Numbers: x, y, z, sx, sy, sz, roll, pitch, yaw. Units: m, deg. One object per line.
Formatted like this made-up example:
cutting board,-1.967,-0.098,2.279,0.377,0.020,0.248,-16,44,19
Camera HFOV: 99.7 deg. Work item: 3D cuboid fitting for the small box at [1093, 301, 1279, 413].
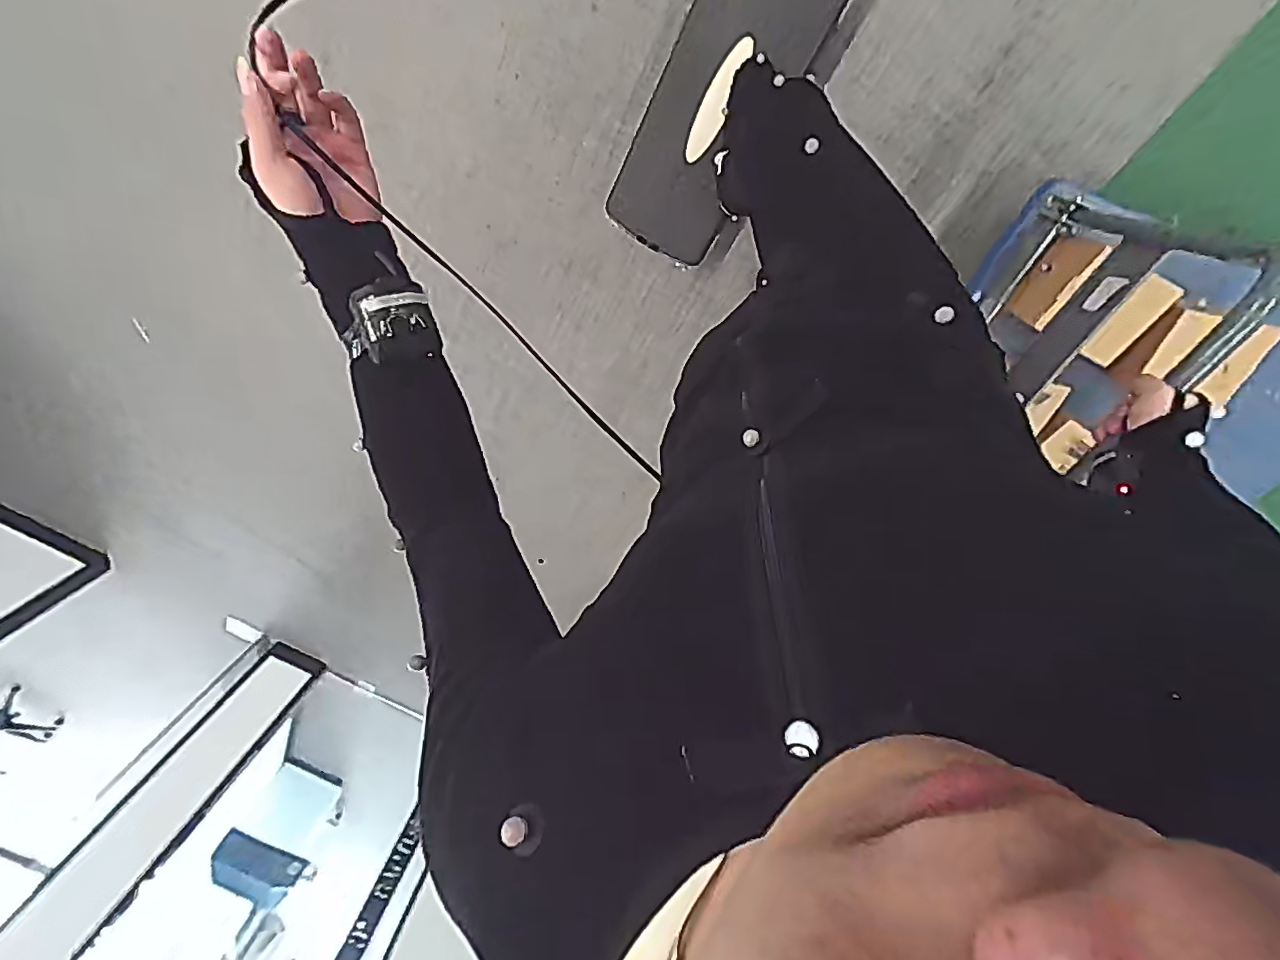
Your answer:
small box,1.073,-0.258,1.085,0.179,0.176,0.168,14,124,5

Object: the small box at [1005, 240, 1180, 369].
small box,0.882,-0.355,1.075,0.179,0.176,0.168,27,124,-3
